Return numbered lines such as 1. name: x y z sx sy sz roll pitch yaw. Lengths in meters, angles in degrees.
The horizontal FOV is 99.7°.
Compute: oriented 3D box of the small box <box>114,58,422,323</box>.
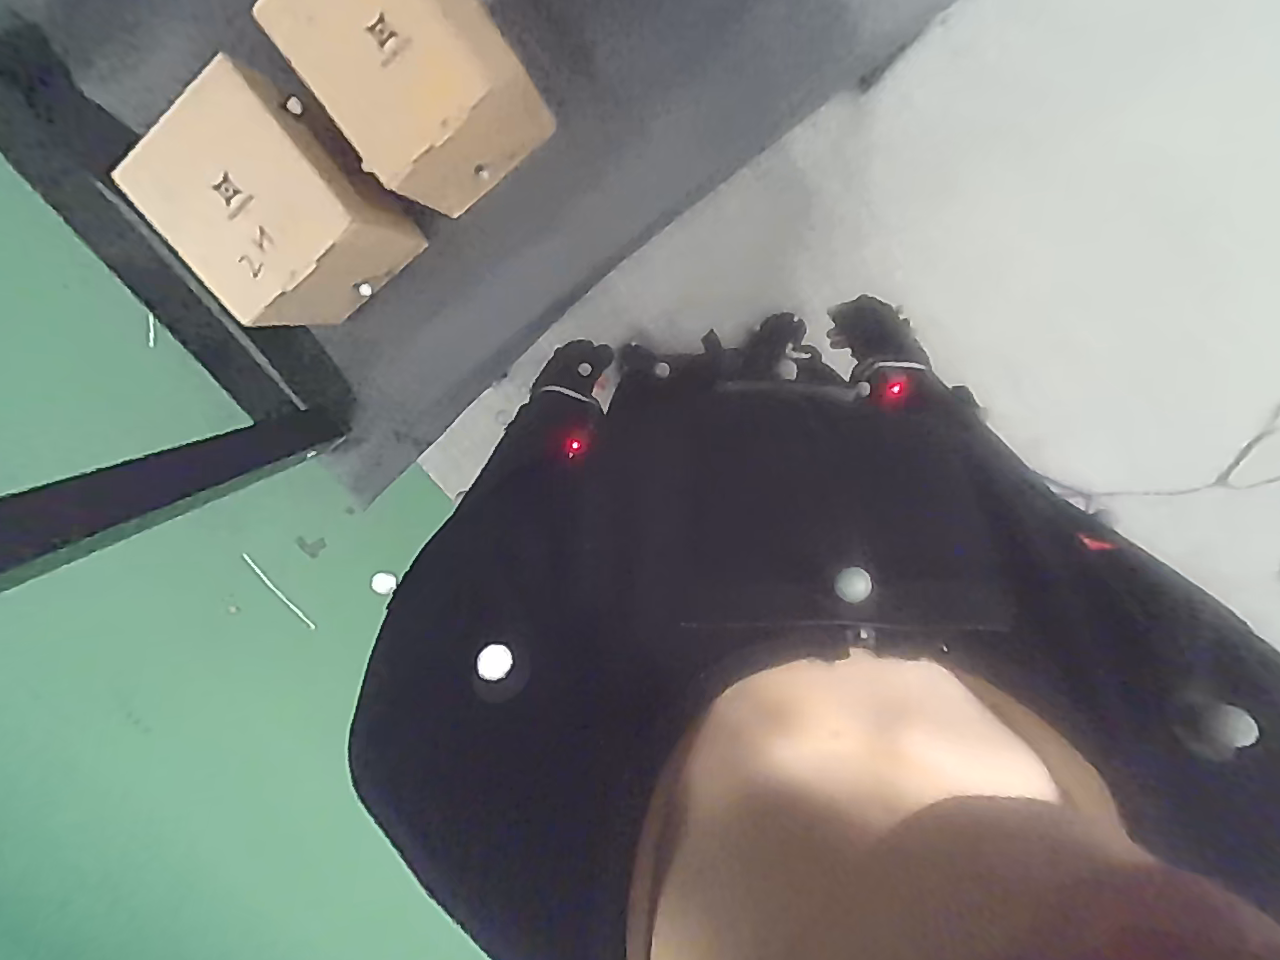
1. small box: -0.382 -0.288 0.591 0.168 0.176 0.179 -34 102 12
